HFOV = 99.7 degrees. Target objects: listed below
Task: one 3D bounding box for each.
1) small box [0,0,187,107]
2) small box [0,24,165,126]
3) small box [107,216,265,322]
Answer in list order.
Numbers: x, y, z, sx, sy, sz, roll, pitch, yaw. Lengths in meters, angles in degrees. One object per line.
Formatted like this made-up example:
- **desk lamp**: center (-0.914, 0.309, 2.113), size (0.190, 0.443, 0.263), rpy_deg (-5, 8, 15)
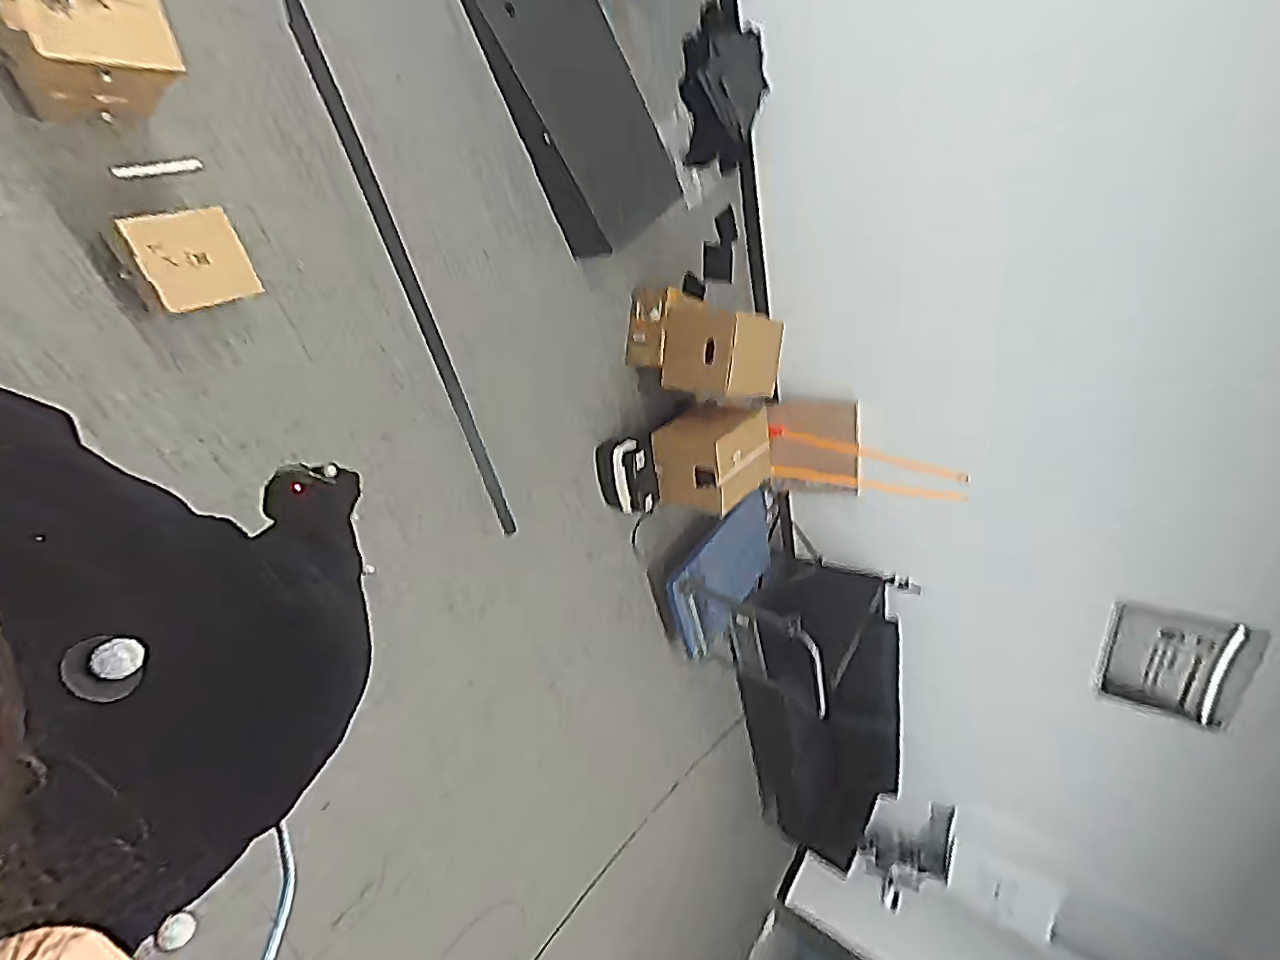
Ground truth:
- **small box**: center (-0.853, -0.694, 0.829), size (0.179, 0.176, 0.168), rpy_deg (-33, 124, -43)
- **small box**: center (-0.978, -0.727, 0.933), size (0.168, 0.176, 0.179), rpy_deg (-37, 127, -40)
- **small box**: center (-0.913, -0.423, 1.090), size (0.179, 0.176, 0.168), rpy_deg (-37, 126, -40)
